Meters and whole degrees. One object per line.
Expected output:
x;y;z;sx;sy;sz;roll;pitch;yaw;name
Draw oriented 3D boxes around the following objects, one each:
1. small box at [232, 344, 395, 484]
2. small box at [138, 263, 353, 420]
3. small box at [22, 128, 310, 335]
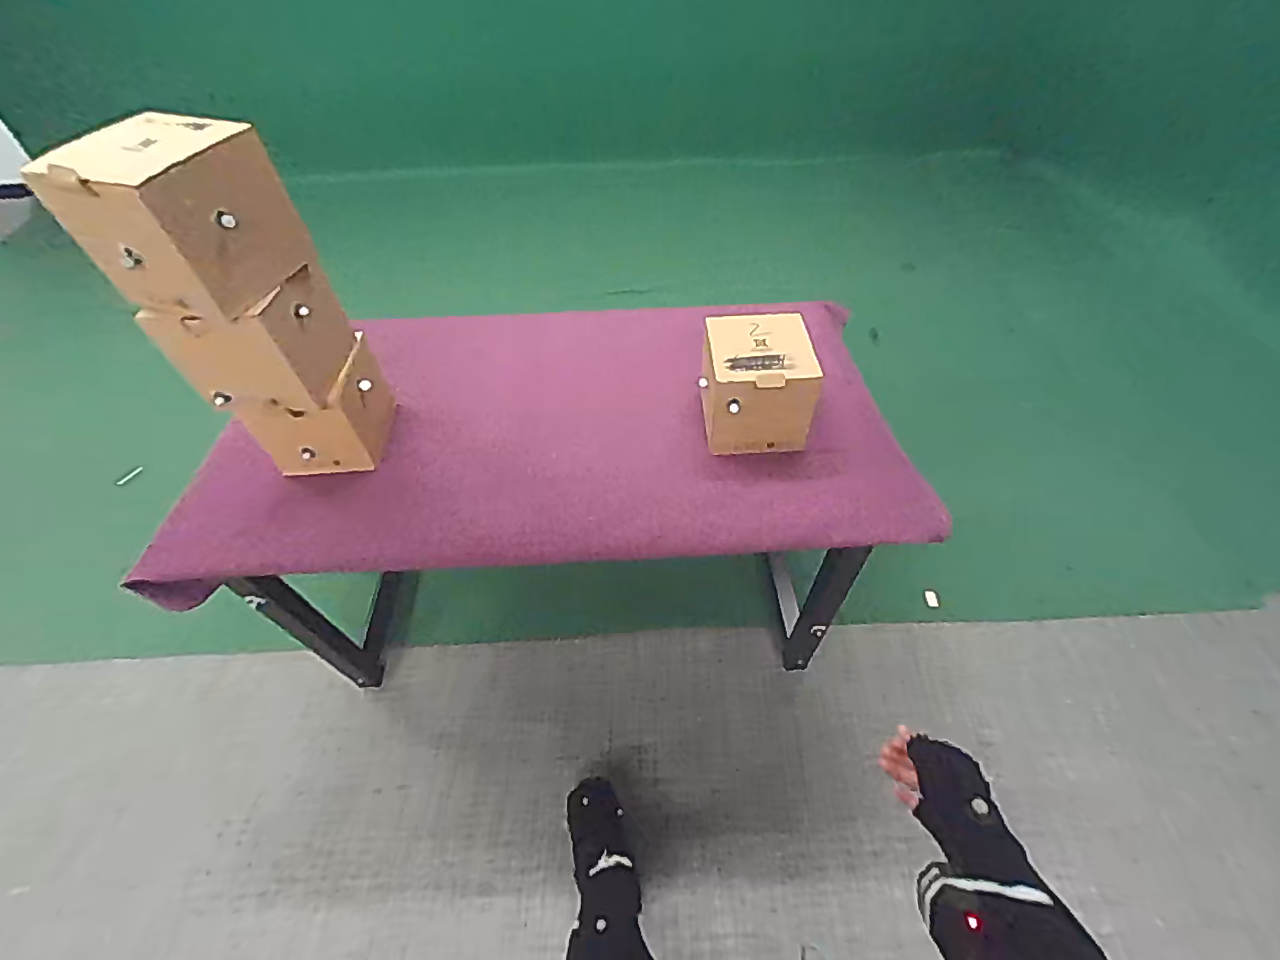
-0.550;-0.114;0.944;0.168;0.176;0.179;-4;52;-2;small box
-0.562;-0.204;0.806;0.168;0.176;0.179;0;51;1;small box
-0.565;-0.308;0.679;0.168;0.176;0.179;14;55;11;small box
